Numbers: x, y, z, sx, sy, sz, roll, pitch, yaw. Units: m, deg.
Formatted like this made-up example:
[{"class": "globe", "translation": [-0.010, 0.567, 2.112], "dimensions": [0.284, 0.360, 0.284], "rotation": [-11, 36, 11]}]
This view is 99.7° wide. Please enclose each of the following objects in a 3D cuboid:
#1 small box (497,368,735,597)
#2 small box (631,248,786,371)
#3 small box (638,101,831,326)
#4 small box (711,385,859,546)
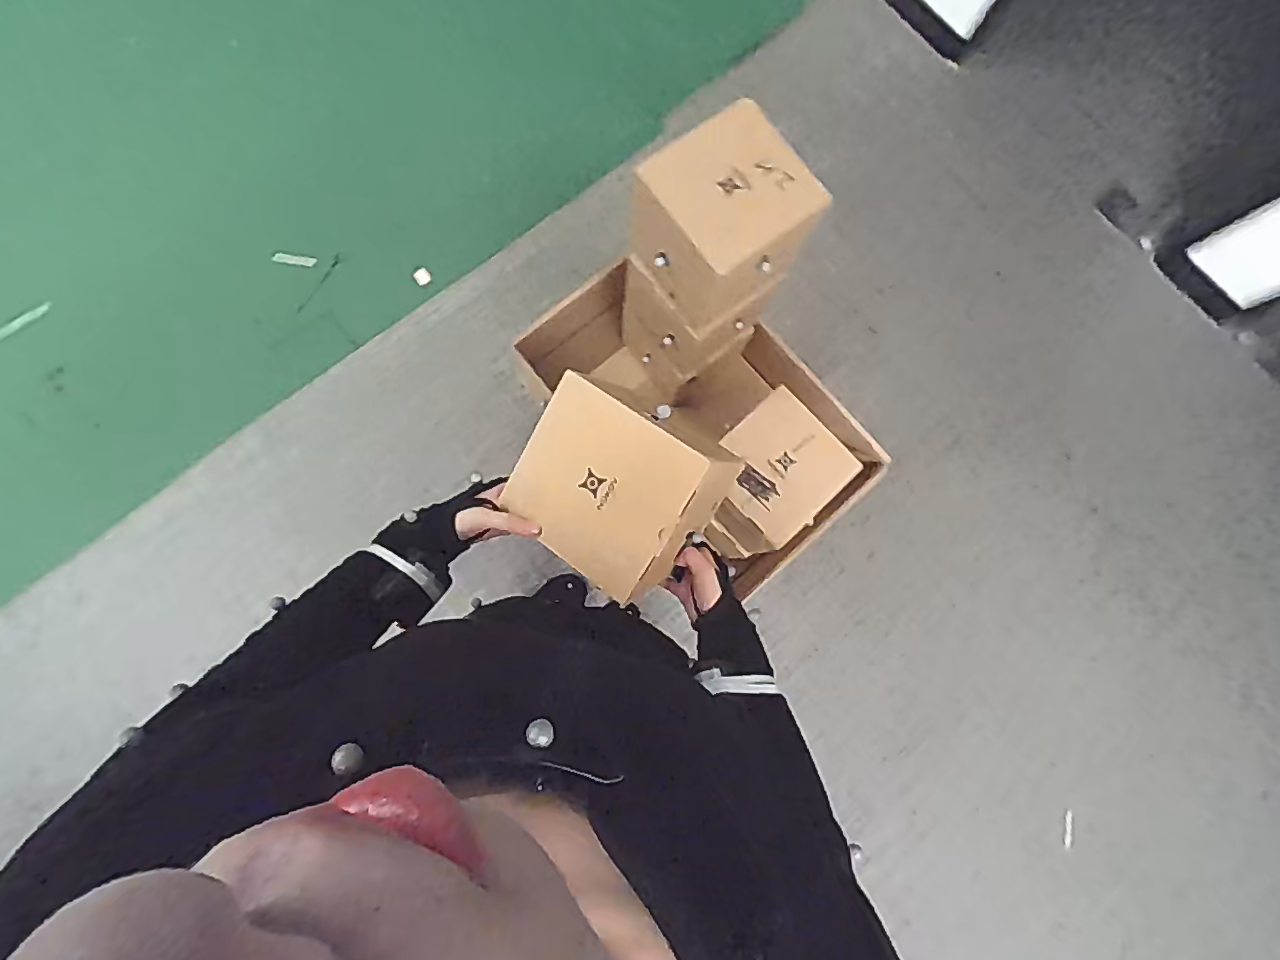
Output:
[{"class": "small box", "translation": [-0.016, -0.001, 0.603], "dimensions": [0.179, 0.176, 0.168], "rotation": [33, 103, 14]}, {"class": "small box", "translation": [0.099, -0.305, 0.878], "dimensions": [0.179, 0.176, 0.168], "rotation": [-37, 86, -9]}, {"class": "small box", "translation": [0.110, -0.336, 0.717], "dimensions": [0.179, 0.176, 0.168], "rotation": [-35, 87, -8]}, {"class": "small box", "translation": [0.191, -0.010, 0.836], "dimensions": [0.179, 0.176, 0.168], "rotation": [-42, 86, -8]}]
